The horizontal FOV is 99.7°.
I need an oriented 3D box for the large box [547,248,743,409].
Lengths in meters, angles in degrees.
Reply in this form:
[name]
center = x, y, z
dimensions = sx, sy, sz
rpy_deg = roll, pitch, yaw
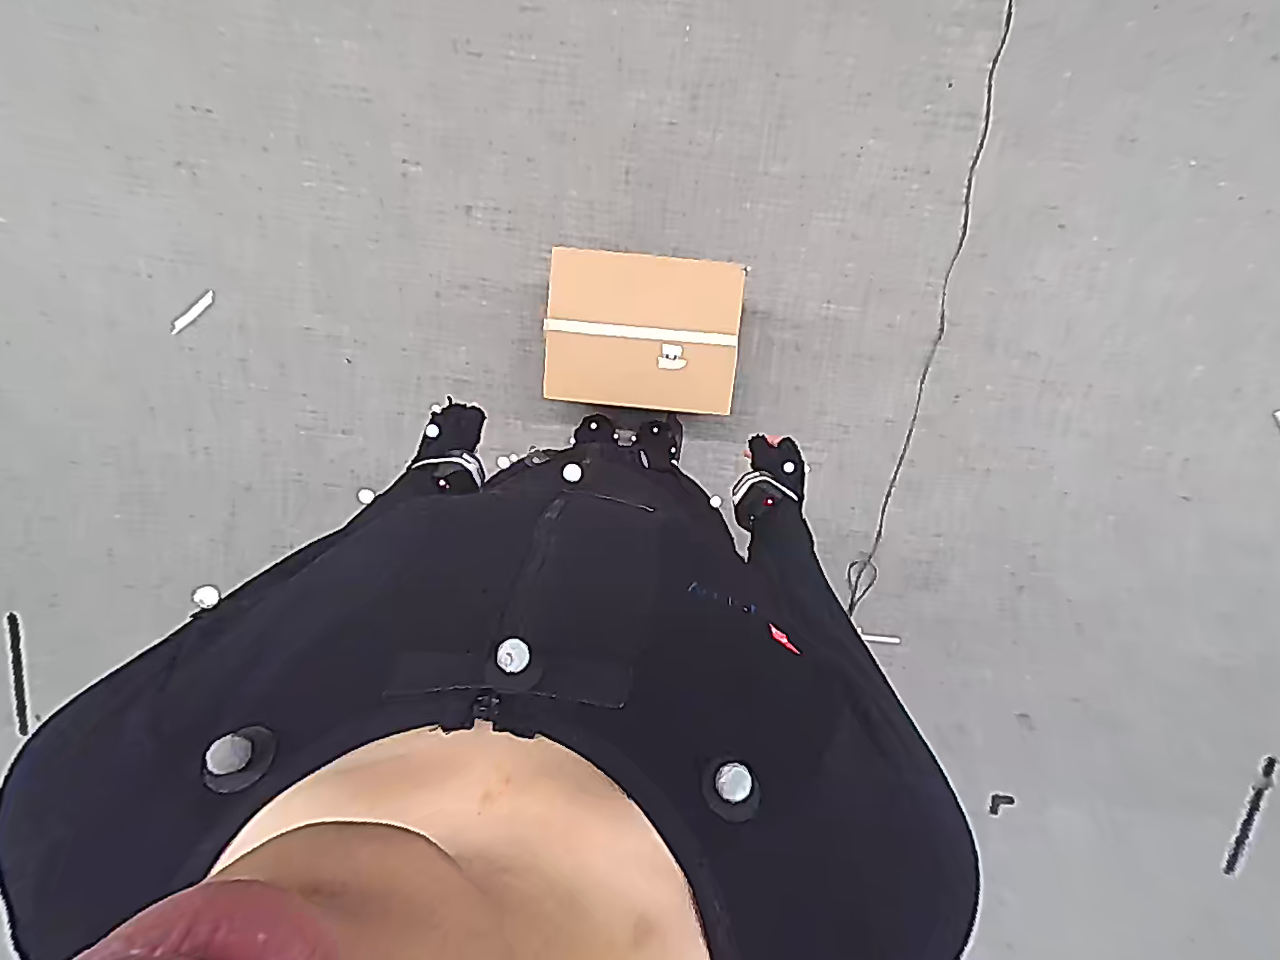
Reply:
[large box]
center = 0.005, -0.338, 1.290
dimensions = 0.408, 0.320, 0.320
rpy_deg = 5, 99, -1
